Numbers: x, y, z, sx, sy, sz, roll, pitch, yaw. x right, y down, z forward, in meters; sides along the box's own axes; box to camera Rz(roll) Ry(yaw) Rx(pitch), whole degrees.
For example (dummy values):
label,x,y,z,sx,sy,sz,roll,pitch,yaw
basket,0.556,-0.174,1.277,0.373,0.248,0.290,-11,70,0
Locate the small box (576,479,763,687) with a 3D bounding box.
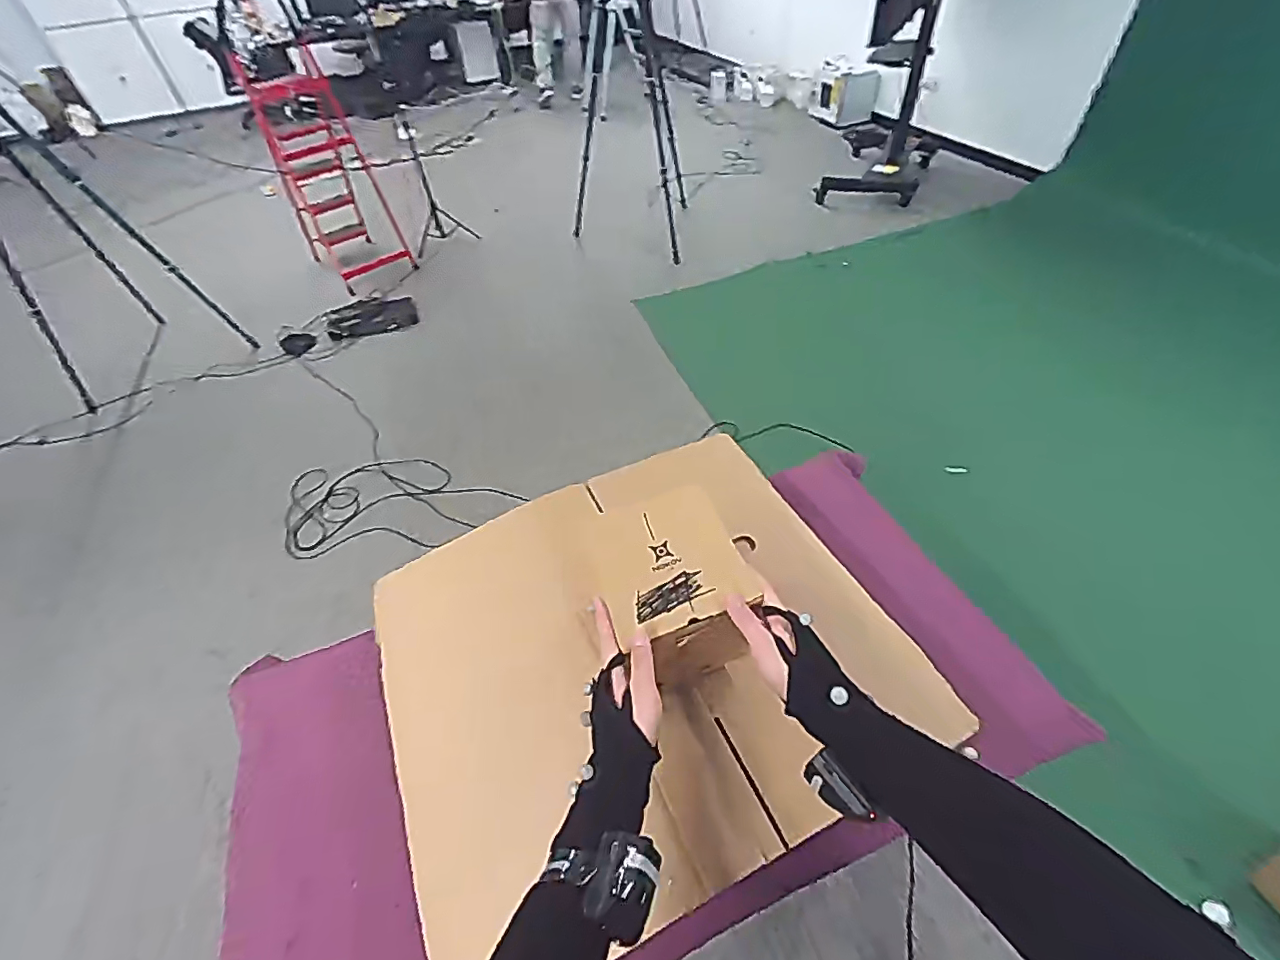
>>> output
label,x,y,z,sx,sy,sz,roll,pitch,yaw
small box,0.032,0.134,0.667,0.168,0.176,0.179,-18,52,-10
